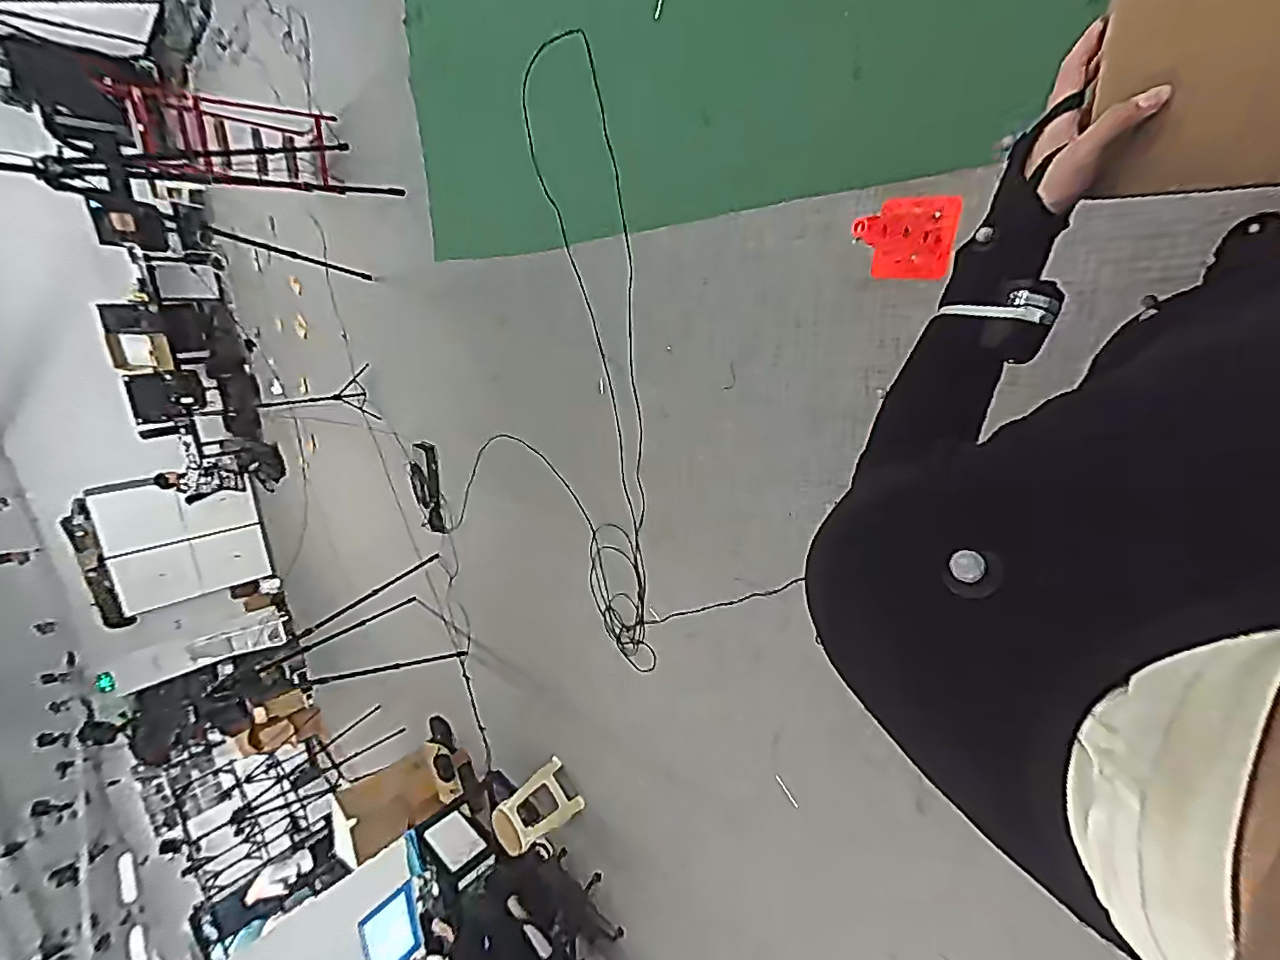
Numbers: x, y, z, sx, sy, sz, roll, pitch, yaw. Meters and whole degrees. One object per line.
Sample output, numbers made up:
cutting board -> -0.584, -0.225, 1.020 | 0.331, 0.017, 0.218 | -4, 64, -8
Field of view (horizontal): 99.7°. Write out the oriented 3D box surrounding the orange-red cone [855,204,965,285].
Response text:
orange-red cone -> 0.622, -0.595, 1.332 | 0.199, 0.360, 0.198 | 23, 118, 40
